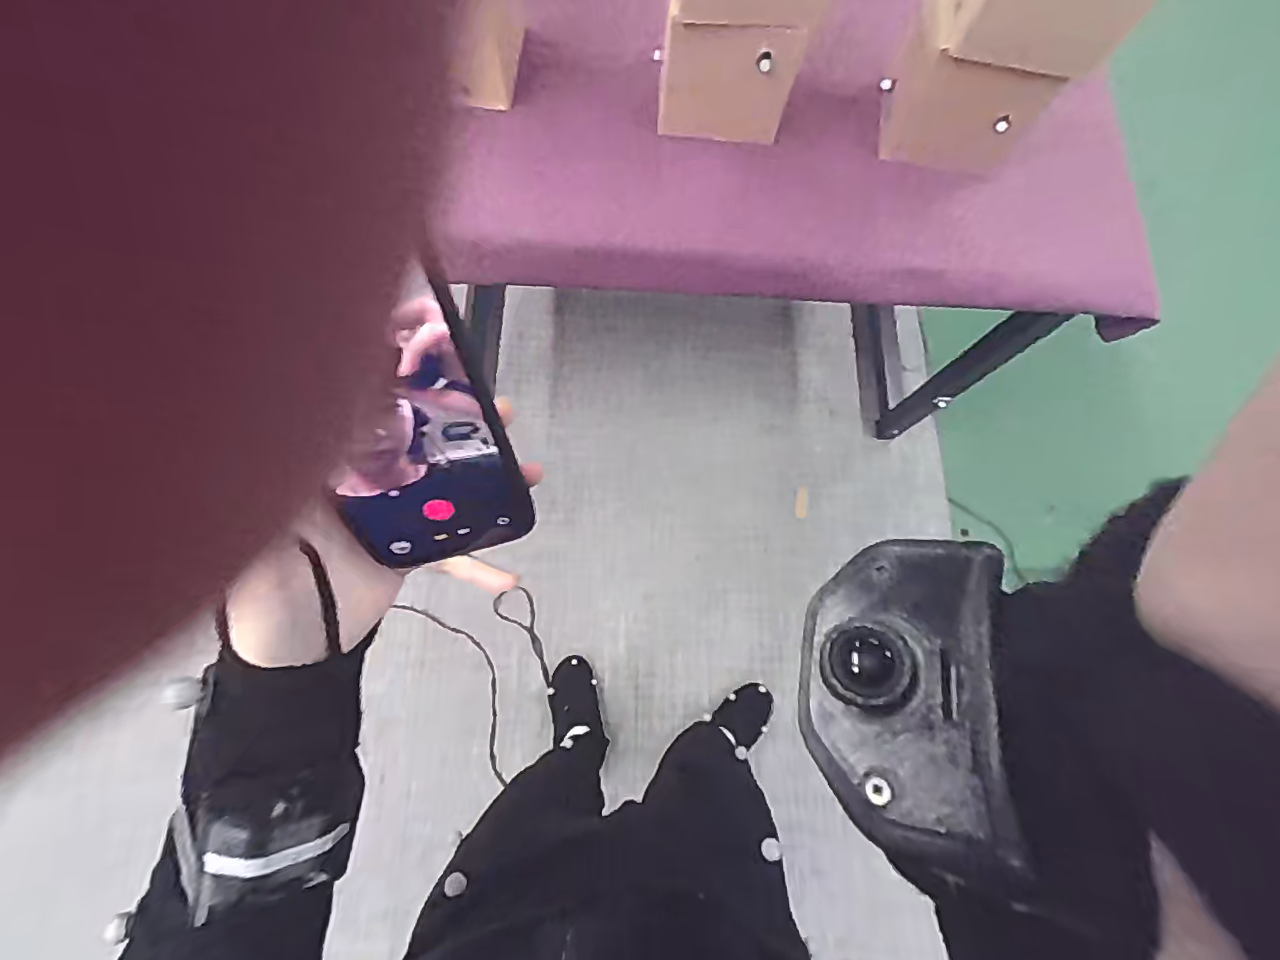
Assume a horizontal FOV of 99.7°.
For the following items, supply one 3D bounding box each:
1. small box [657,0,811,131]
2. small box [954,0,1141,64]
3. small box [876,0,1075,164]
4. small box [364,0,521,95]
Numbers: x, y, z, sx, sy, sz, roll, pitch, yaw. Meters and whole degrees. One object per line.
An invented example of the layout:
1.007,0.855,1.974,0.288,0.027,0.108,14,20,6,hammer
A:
0.122,-0.622,0.748,0.179,0.176,0.168,5,75,-2,small box
0.476,-0.607,0.595,0.179,0.176,0.168,10,75,-1,small box
0.460,-0.582,0.756,0.179,0.176,0.168,11,75,0,small box
-0.266,-0.673,0.741,0.168,0.176,0.179,5,75,-2,small box
